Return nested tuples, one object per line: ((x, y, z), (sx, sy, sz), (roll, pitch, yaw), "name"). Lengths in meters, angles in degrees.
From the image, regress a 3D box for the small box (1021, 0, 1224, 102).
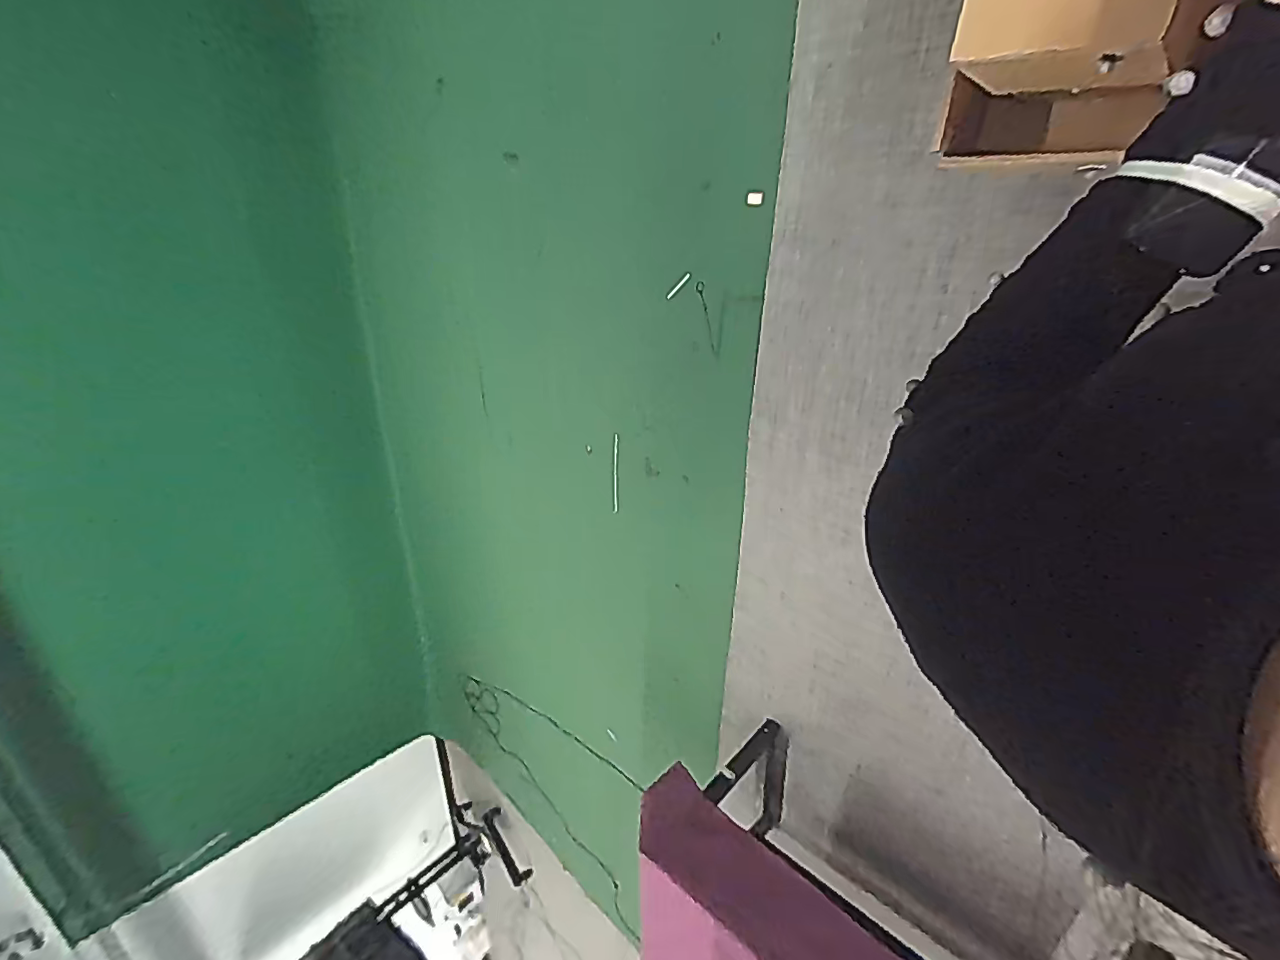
((0.560, -0.558, 0.631), (0.179, 0.176, 0.168), (25, 123, 37), "small box")

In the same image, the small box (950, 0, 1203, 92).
((0.446, -0.500, 0.531), (0.179, 0.176, 0.168), (25, 123, 36), "small box")
